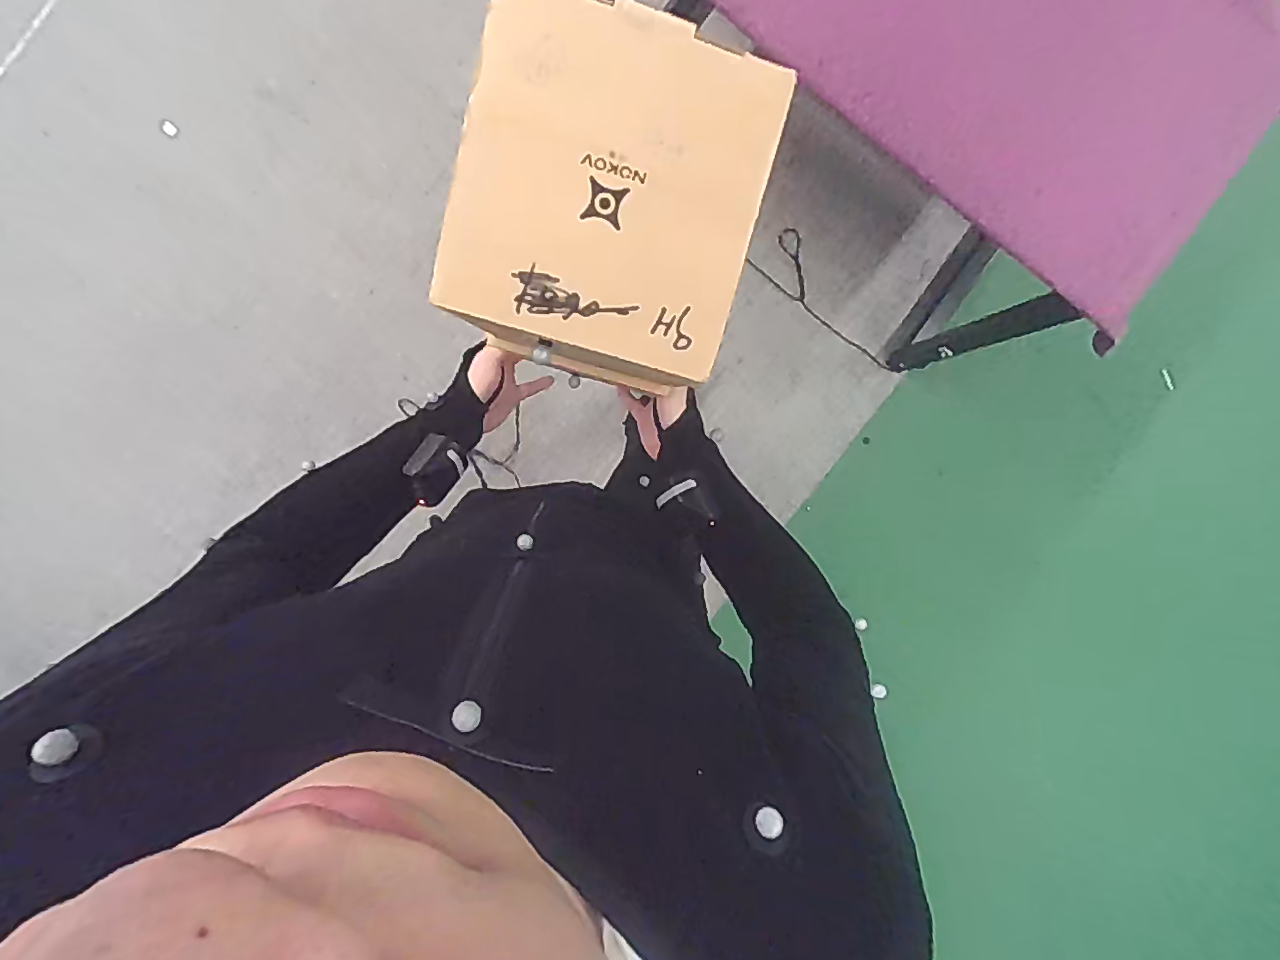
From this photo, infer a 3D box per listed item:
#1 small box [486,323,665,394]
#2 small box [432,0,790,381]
[{"bbox_3d":[-0.038,-0.193,0.542,0.168,0.176,0.179,16,98,-7],"label":"small box"},{"bbox_3d":[-0.022,-0.177,0.379,0.168,0.176,0.179,15,98,-6],"label":"small box"}]
